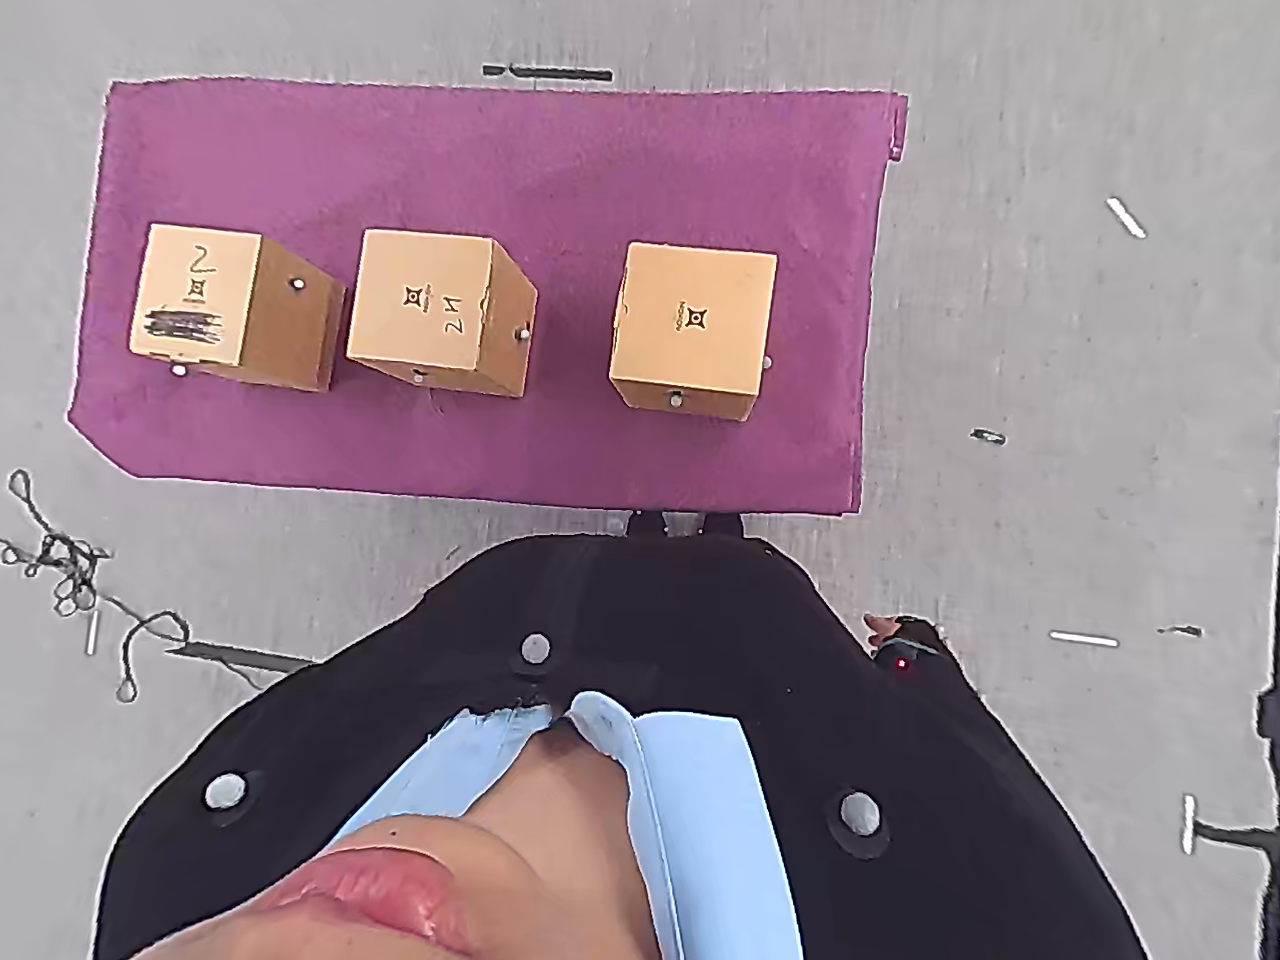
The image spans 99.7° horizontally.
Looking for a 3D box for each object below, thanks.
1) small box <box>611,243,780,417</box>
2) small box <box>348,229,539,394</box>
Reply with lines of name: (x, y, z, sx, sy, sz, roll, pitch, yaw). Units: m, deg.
small box: (0.073, -0.182, 0.700, 0.179, 0.176, 0.168, 8, 87, 8)
small box: (-0.258, -0.220, 0.742, 0.179, 0.176, 0.168, 8, 89, 8)
